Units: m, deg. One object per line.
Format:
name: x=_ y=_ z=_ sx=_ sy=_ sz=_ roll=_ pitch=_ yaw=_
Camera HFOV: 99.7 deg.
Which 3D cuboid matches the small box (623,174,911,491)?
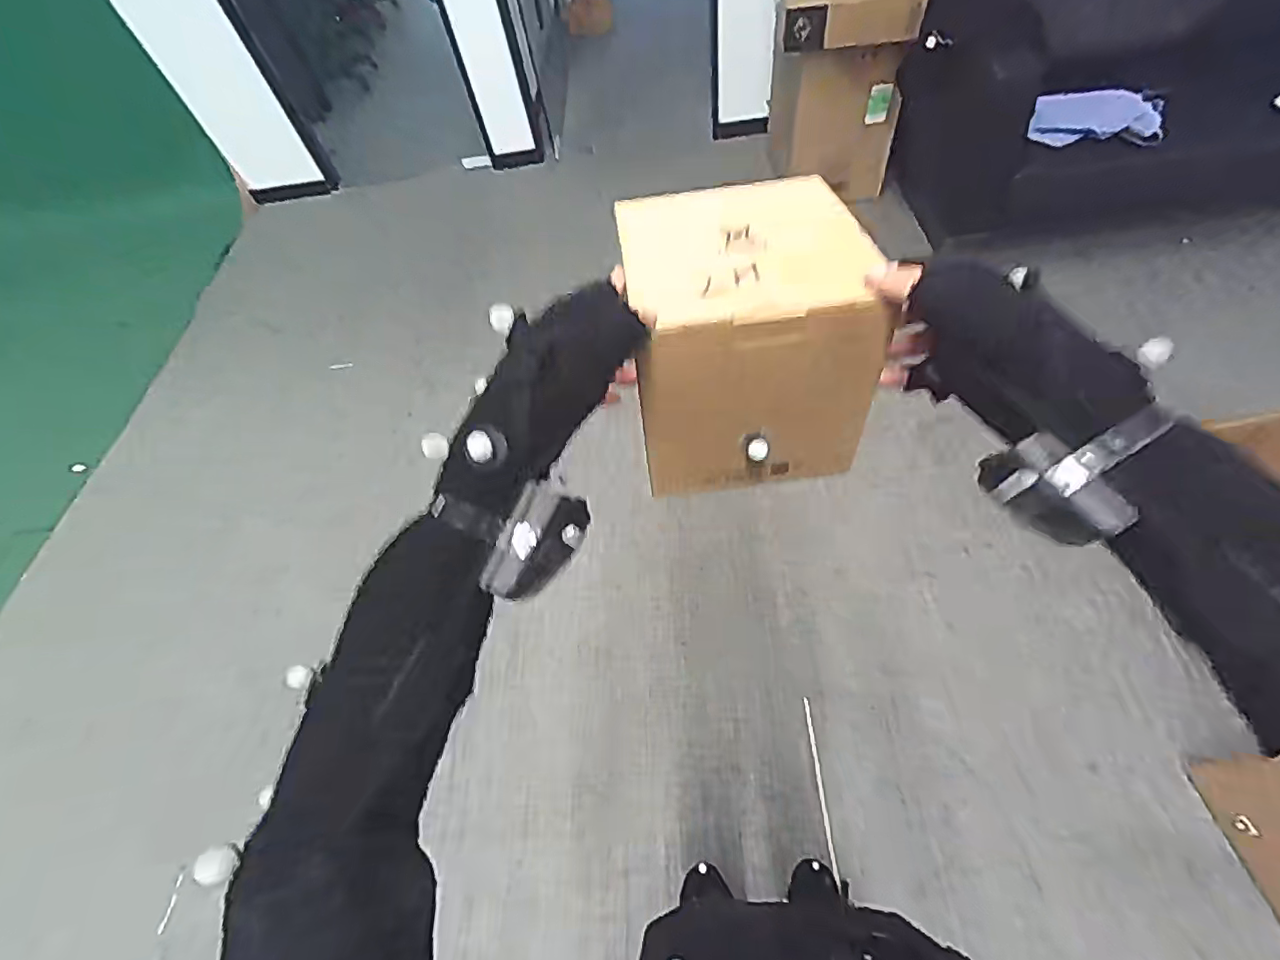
small box: x=0.079 y=-0.115 z=0.431 sx=0.168 sy=0.176 sz=0.179 roll=-8 pitch=49 yaw=1
